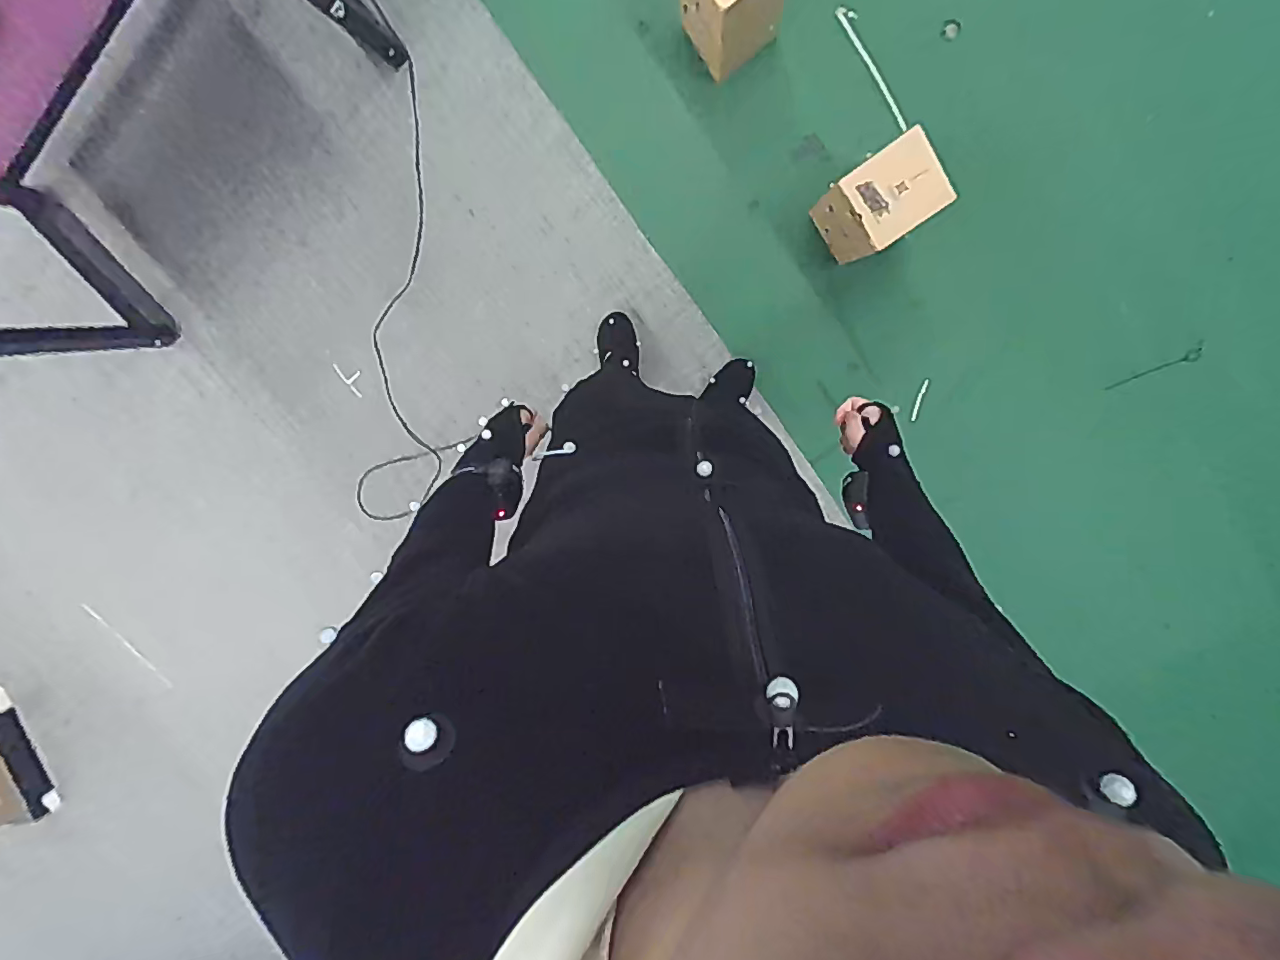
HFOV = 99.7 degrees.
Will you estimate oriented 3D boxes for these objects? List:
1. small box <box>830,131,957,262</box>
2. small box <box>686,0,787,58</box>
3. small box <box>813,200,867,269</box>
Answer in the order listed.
[{"bbox_3d":[0.529,-0.593,1.161,0.179,0.176,0.168,-32,101,15],"label":"small box"},{"bbox_3d":[0.195,-1.011,1.080,0.179,0.176,0.168,-32,99,14],"label":"small box"},{"bbox_3d":[0.549,-0.640,1.317,0.179,0.176,0.168,-34,100,16],"label":"small box"}]
